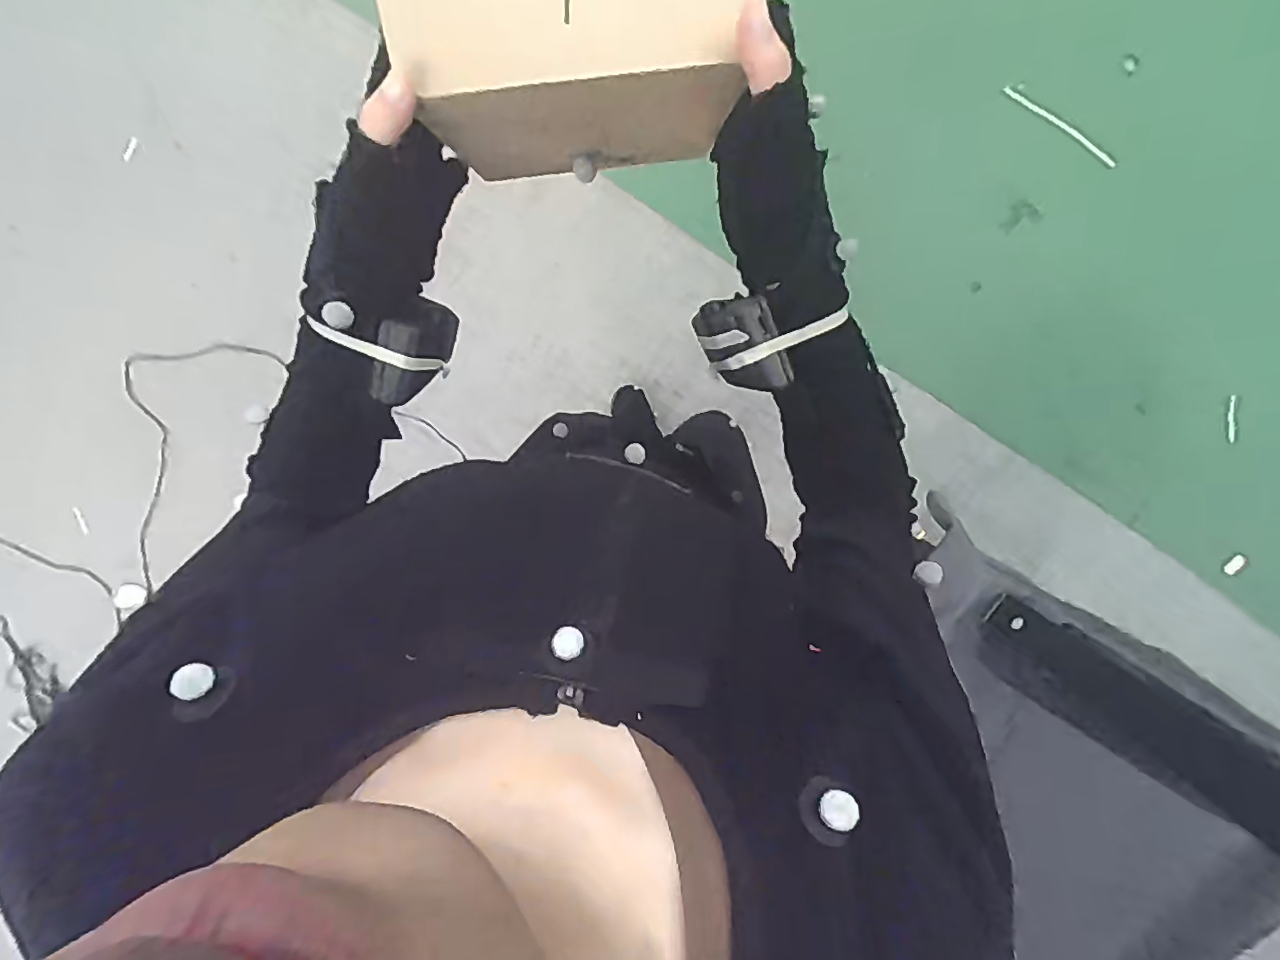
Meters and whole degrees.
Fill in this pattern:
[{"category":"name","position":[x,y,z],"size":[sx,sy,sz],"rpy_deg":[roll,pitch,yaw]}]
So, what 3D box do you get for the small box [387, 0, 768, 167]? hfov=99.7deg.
[{"category":"small box","position":[-0.037,-0.293,0.290],"size":[0.168,0.176,0.179],"rpy_deg":[-7,108,0]}]
